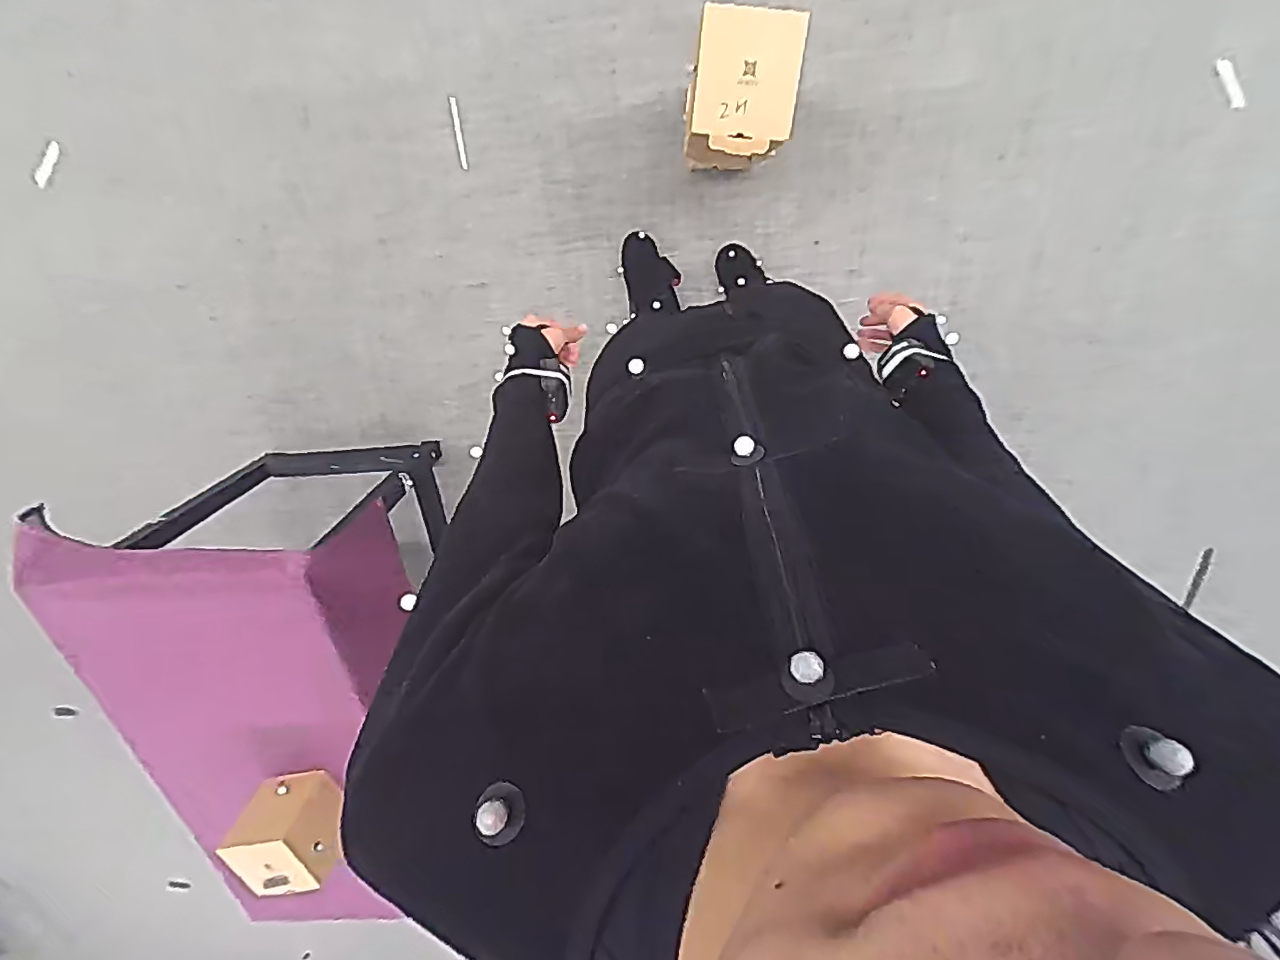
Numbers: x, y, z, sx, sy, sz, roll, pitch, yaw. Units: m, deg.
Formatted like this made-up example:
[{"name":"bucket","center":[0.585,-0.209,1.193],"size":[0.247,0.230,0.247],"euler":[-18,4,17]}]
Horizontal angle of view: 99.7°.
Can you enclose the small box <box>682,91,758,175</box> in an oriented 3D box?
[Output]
[{"name":"small box","center":[0.185,-0.808,1.247],"size":[0.168,0.176,0.179],"euler":[0,115,1]}]

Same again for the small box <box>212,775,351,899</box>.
[{"name":"small box","center":[-0.807,0.817,1.242],"size":[0.168,0.176,0.179],"euler":[-13,114,8]}]

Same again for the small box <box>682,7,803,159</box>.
[{"name":"small box","center":[0.166,-0.678,0.944],"size":[0.168,0.176,0.179],"euler":[5,115,-2]}]
